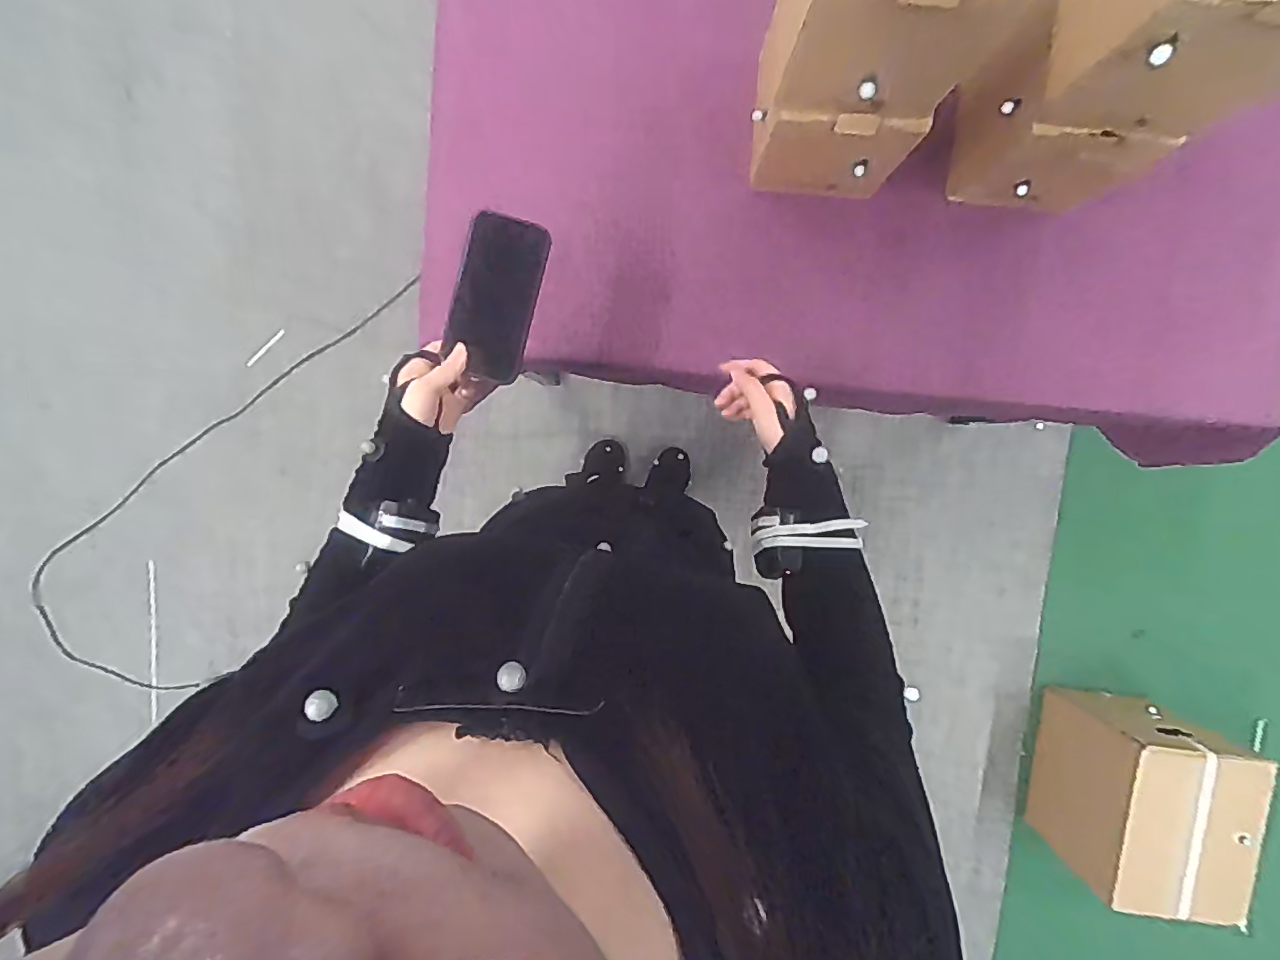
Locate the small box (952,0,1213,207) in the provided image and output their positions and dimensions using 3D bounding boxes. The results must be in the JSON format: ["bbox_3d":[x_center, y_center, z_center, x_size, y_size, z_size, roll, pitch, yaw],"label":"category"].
[{"bbox_3d":[0.500,-0.452,0.638,0.168,0.176,0.179,5,96,1],"label":"small box"}]

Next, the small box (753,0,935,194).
[{"bbox_3d":[0.235,-0.466,0.642,0.168,0.176,0.179,5,95,0],"label":"small box"}]

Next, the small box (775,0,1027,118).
[{"bbox_3d":[0.223,-0.463,0.477,0.168,0.176,0.179,4,95,0],"label":"small box"}]
